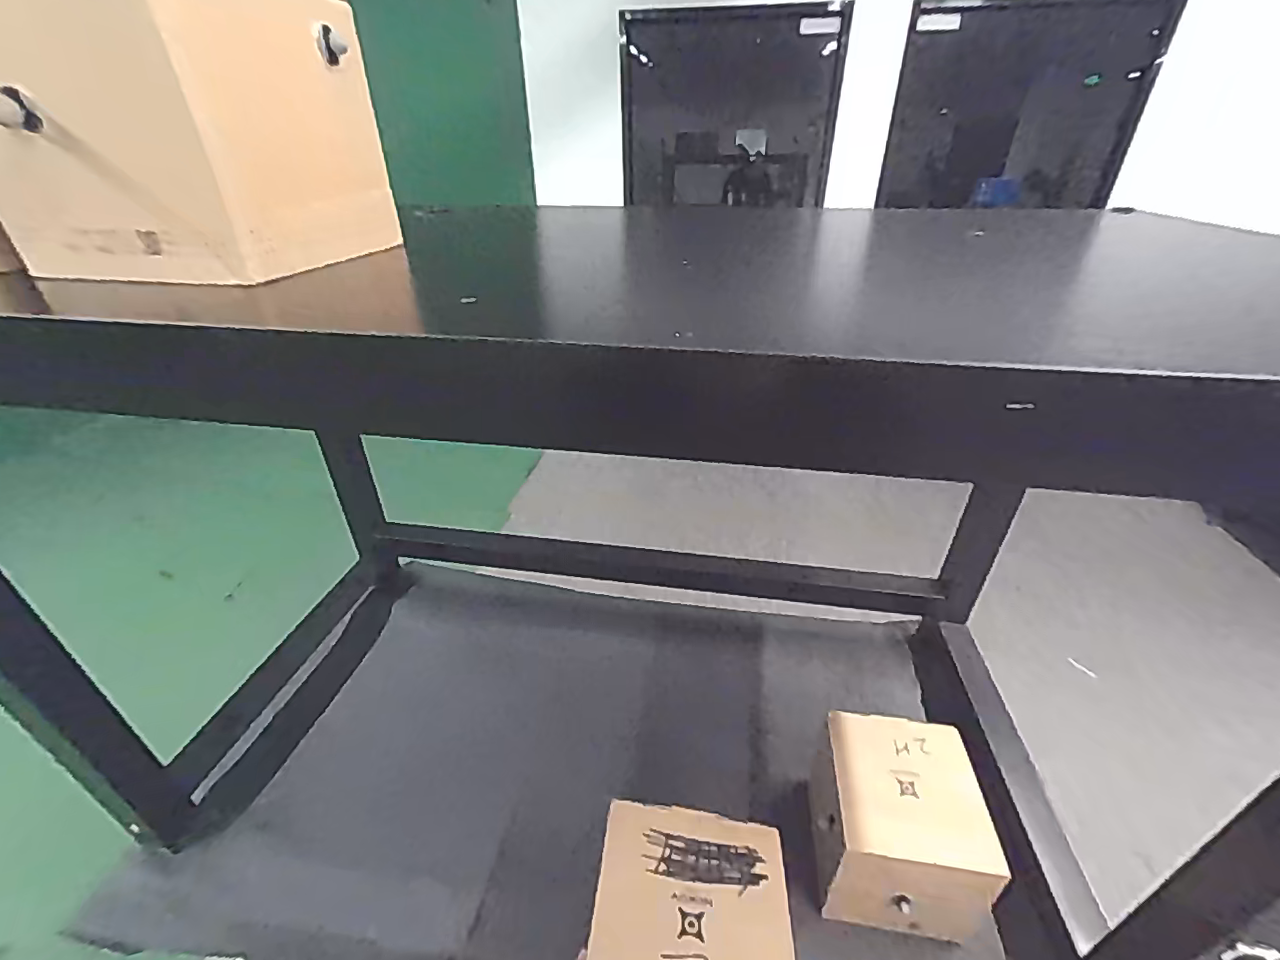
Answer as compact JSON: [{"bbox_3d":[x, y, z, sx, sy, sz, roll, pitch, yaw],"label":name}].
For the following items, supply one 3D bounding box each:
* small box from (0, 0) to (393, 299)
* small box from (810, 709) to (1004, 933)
[{"bbox_3d":[-0.303,-0.230,0.377,0.168,0.176,0.179,4,32,9],"label":"small box"},{"bbox_3d":[0.316,0.427,0.683,0.168,0.176,0.179,4,31,8],"label":"small box"}]
